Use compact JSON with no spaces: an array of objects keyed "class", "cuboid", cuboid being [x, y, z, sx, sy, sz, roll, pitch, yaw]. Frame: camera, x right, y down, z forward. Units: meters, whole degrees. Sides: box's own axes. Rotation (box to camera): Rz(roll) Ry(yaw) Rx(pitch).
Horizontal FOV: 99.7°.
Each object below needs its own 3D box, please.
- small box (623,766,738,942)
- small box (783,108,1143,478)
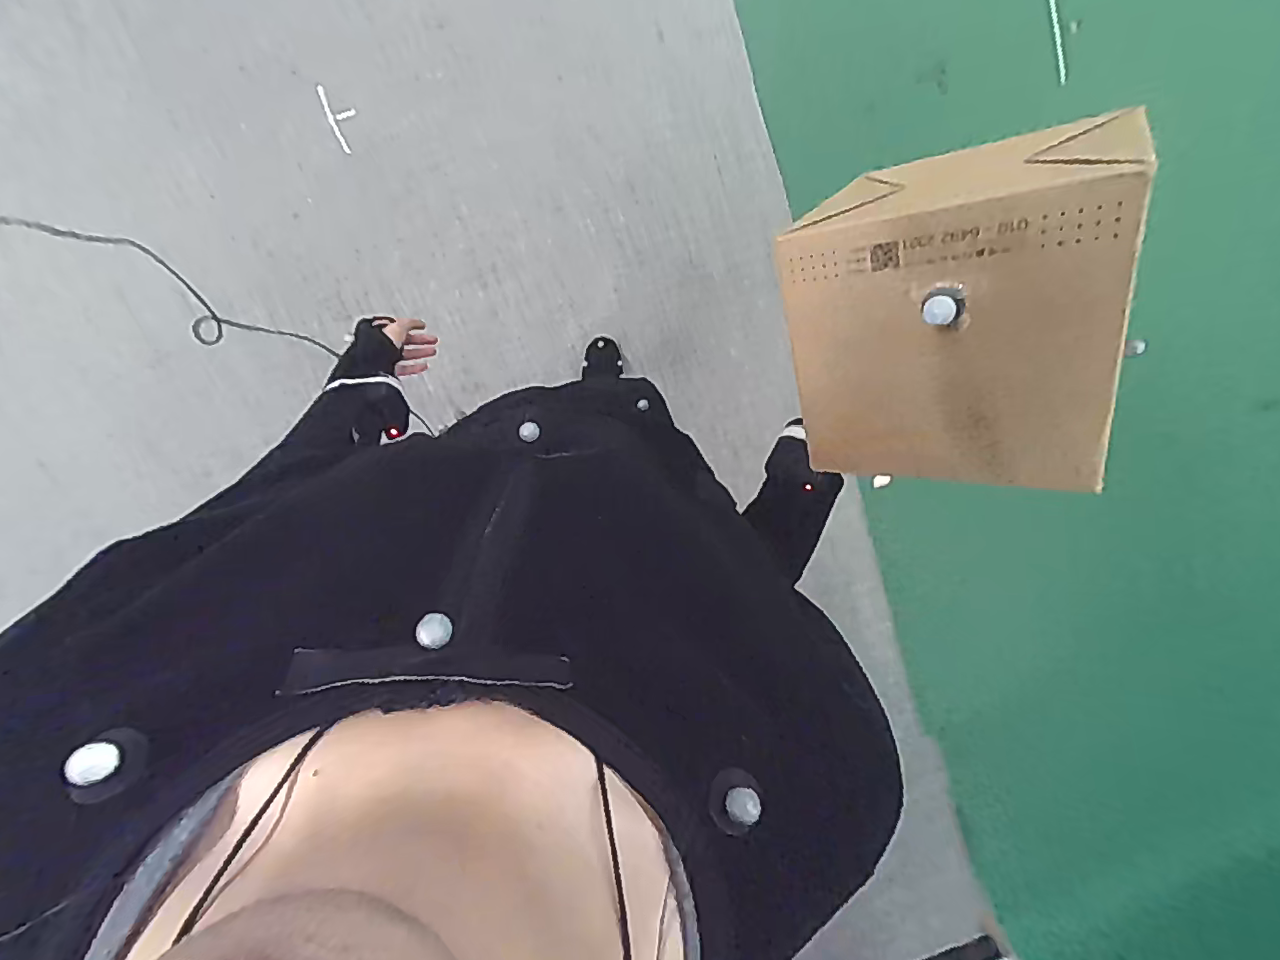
[{"class":"small box","cuboid":[0.064,0.642,0.943,0.168,0.176,0.179,-10,102,-2]},{"class":"small box","cuboid":[0.213,-0.123,0.361,0.179,0.168,0.176,-46,128,-38]}]
